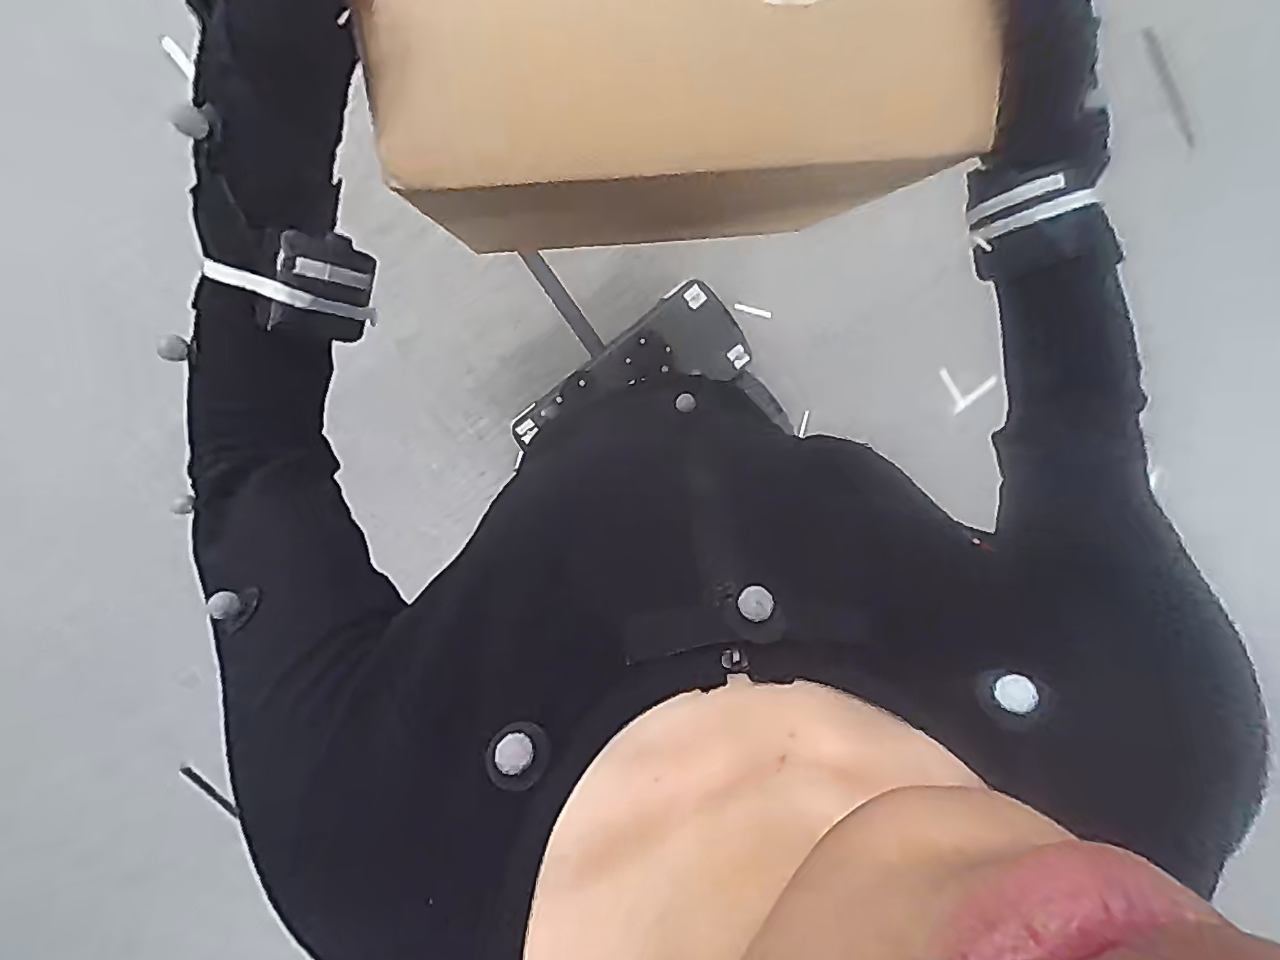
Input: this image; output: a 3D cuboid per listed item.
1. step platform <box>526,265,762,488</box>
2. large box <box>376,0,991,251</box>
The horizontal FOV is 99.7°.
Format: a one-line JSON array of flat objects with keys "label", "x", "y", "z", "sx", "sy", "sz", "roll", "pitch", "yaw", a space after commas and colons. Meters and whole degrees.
[{"label": "step platform", "x": 0.006, "y": -0.287, "z": 1.533, "sx": 0.684, "sy": 0.204, "sz": 0.286, "roll": -40, "pitch": 104, "yaw": 3}, {"label": "large box", "x": 0.012, "y": -0.400, "z": 0.467, "sx": 0.408, "sy": 0.320, "sz": 0.320, "roll": -7, "pitch": 107, "yaw": -6}]
